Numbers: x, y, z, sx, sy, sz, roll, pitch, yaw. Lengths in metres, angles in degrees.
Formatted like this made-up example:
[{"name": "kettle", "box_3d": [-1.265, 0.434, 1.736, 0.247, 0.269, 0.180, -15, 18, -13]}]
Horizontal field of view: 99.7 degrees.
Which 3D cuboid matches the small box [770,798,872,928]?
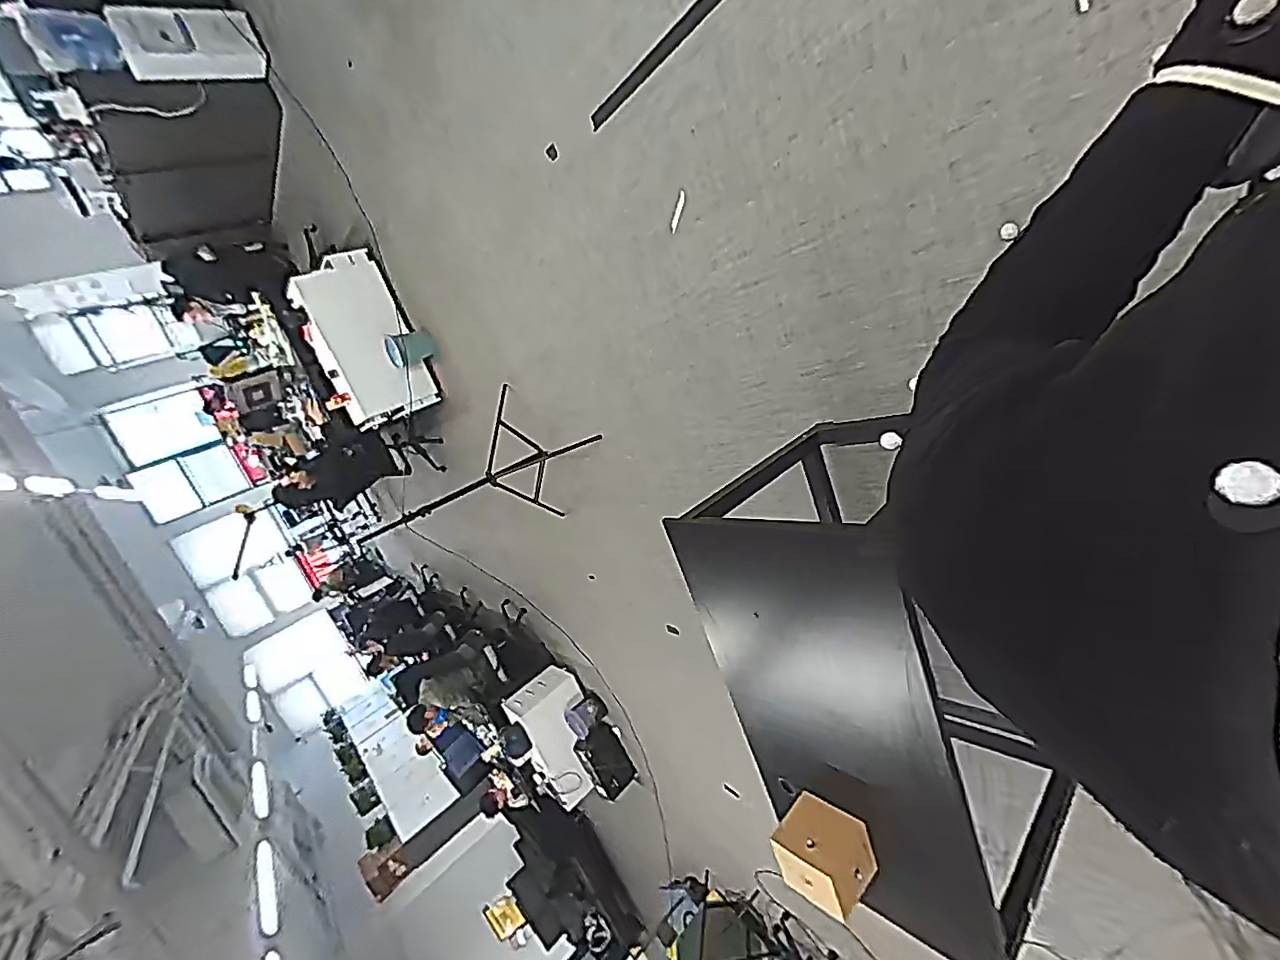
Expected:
[{"name": "small box", "box_3d": [0.465, 0.954, 1.369, 0.179, 0.176, 0.168, 2, 116, 53]}]
